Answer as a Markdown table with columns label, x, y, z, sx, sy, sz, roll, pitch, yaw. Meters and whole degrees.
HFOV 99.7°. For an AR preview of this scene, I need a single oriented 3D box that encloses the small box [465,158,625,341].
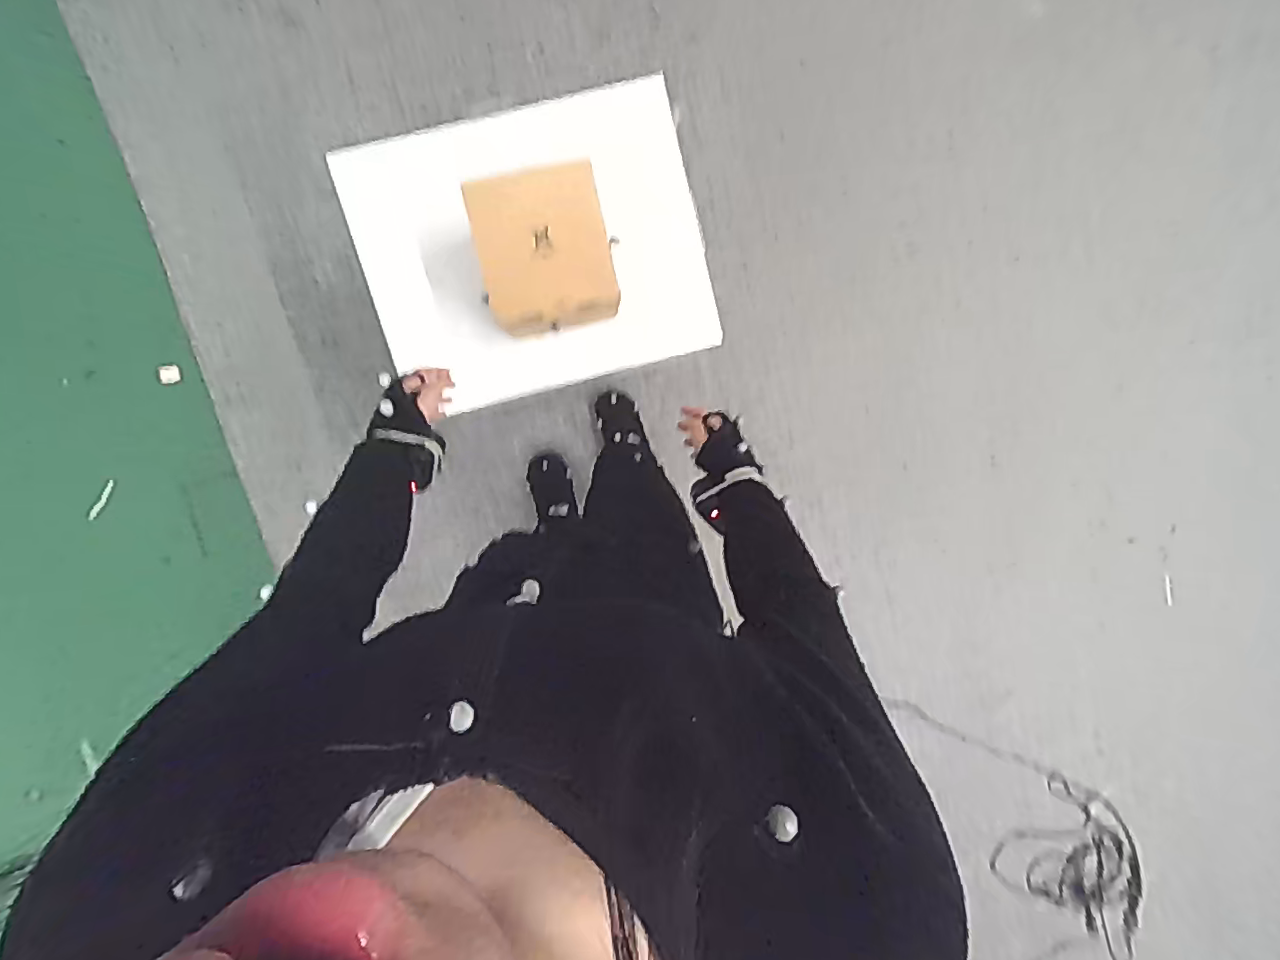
| label | x | y | z | sx | sy | sz | roll | pitch | yaw |
| --- | --- | --- | --- | --- | --- | --- | --- | --- | --- |
| small box | -0.124 | -0.305 | 0.748 | 0.168 | 0.176 | 0.179 | -14 | 99 | -3 |
